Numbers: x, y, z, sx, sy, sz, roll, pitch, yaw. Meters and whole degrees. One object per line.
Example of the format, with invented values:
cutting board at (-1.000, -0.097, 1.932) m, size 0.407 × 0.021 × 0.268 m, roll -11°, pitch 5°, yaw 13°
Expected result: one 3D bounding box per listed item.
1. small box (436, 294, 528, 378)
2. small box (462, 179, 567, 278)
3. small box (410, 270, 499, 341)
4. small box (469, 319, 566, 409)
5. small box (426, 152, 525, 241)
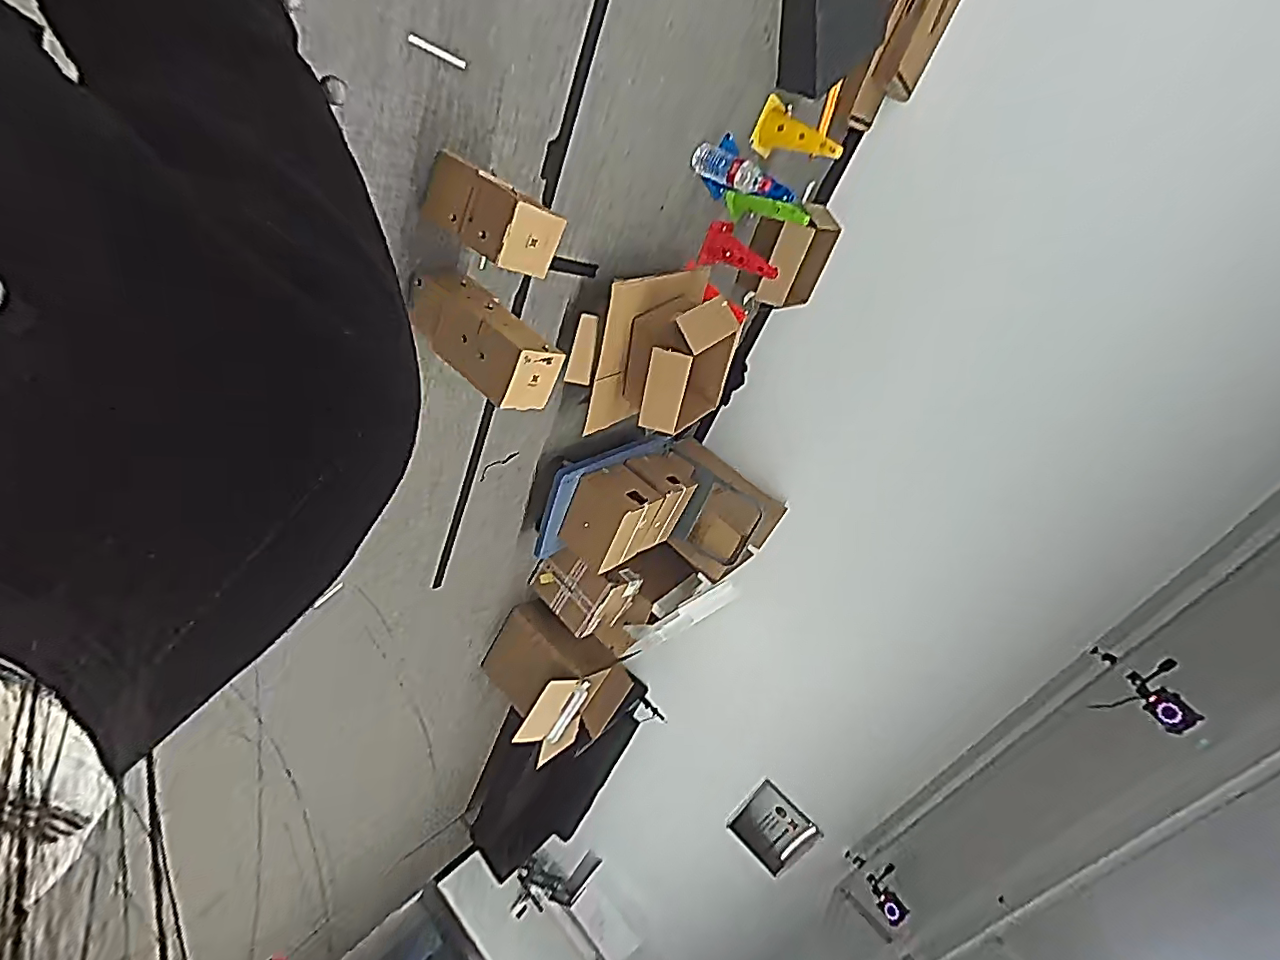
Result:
small box at (-0.453, -0.408, 1.539) m, size 0.168 × 0.176 × 0.179 m, roll -15°, pitch 139°, yaw -53°
small box at (-0.331, -0.654, 1.408) m, size 0.179 × 0.176 × 0.168 m, roll -14°, pitch 139°, yaw -56°
small box at (-0.559, -0.510, 1.615) m, size 0.179 × 0.176 × 0.168 m, roll -19°, pitch 142°, yaw -52°
small box at (-0.339, -0.312, 1.472) m, size 0.168 × 0.176 × 0.179 m, roll -11°, pitch 136°, yaw -56°
small box at (-0.449, -0.750, 1.463) m, size 0.168 × 0.176 × 0.179 m, roll -11°, pitch 135°, yaw -57°
